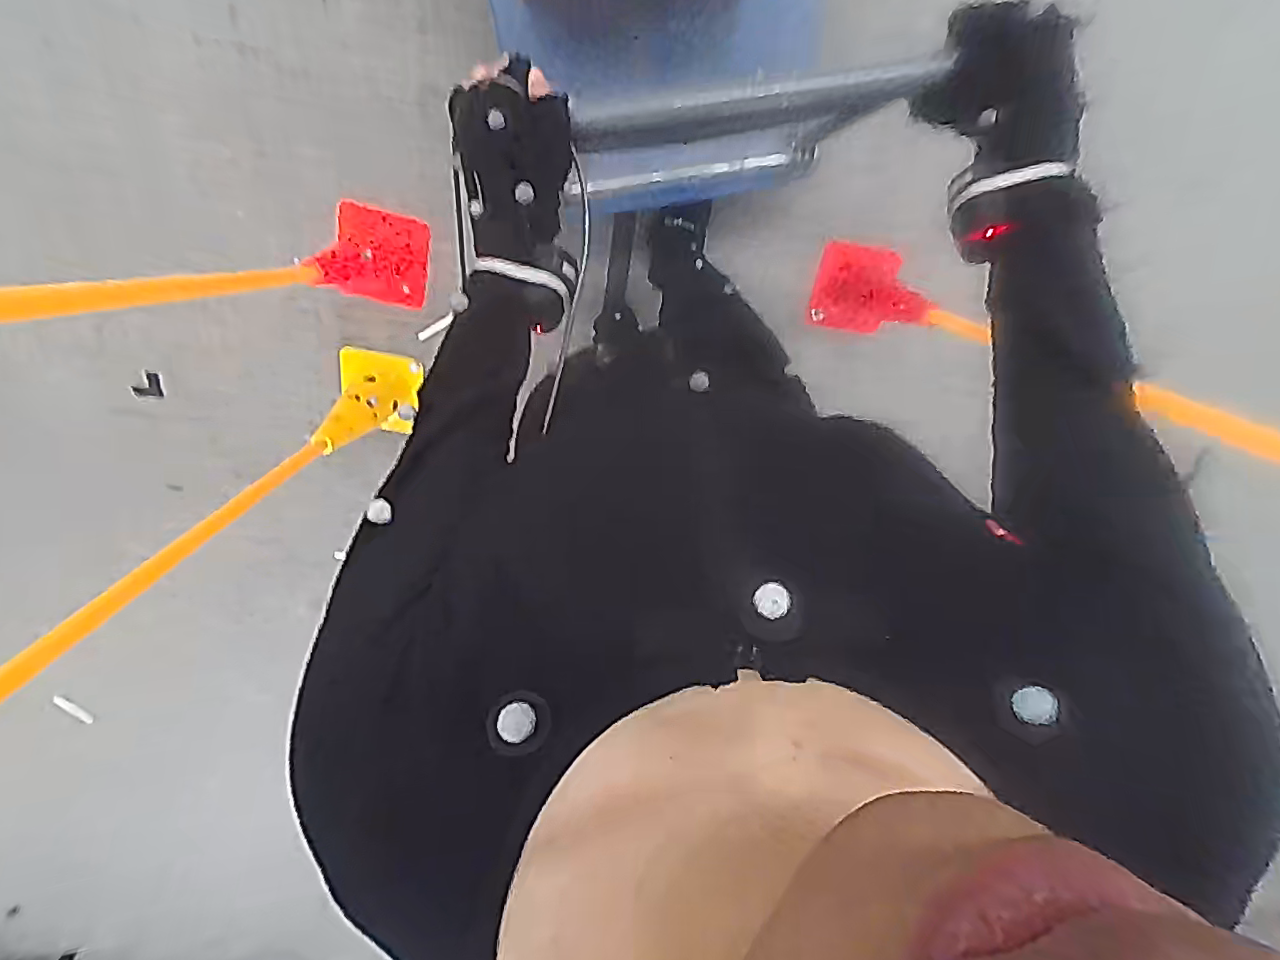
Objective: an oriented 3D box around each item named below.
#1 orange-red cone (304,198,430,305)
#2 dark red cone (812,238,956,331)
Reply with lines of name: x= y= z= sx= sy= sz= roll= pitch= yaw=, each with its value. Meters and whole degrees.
orange-red cone: x=-0.580 y=-0.448 z=1.092 sx=0.198 sy=0.360 sz=0.199 roll=12 pitch=114 yaw=-11
dark red cone: x=0.550 y=-0.402 z=1.179 sx=0.201 sy=0.394 sz=0.202 roll=5 pitch=116 yaw=-9
